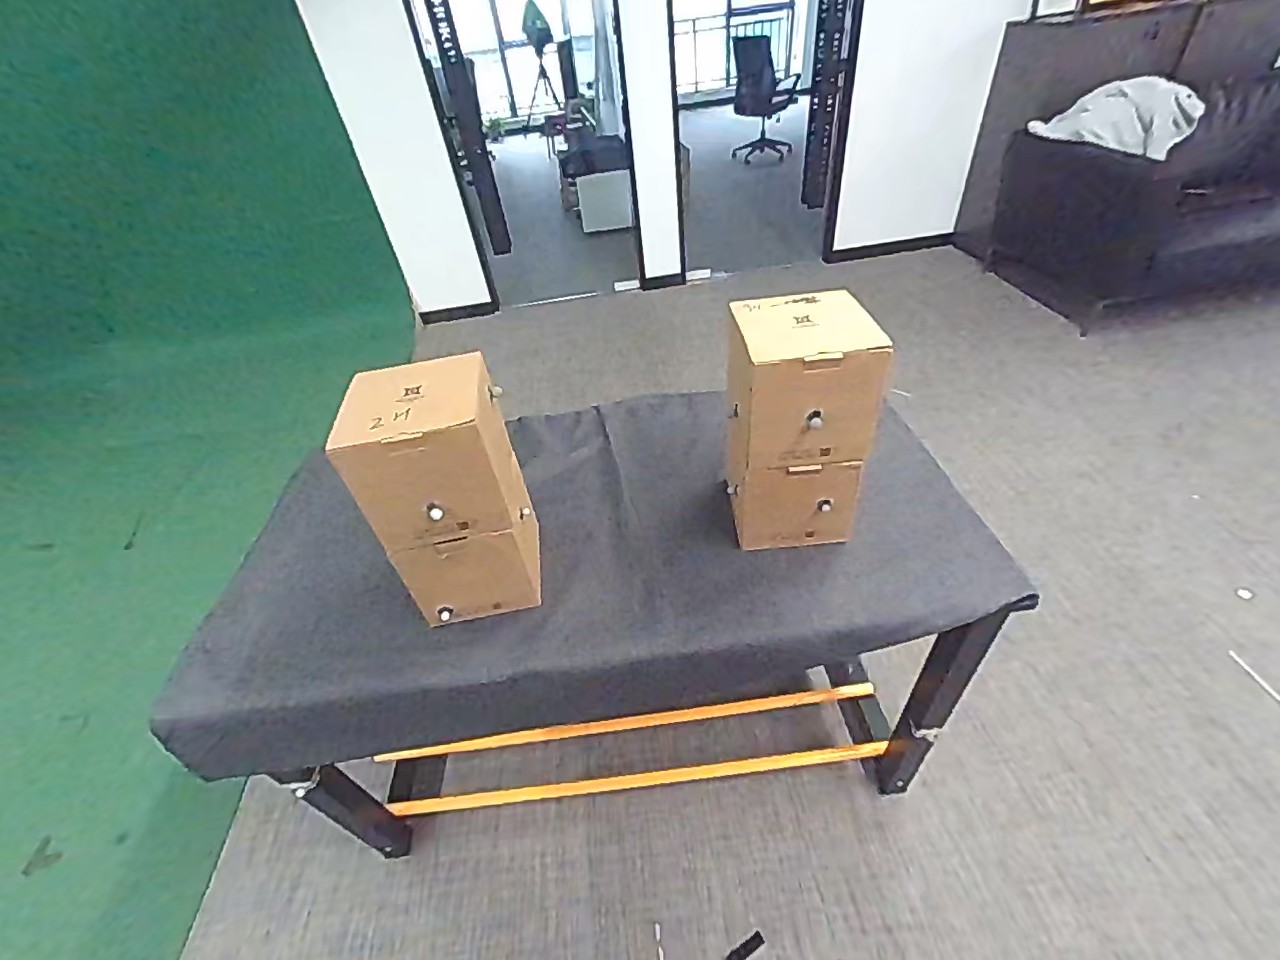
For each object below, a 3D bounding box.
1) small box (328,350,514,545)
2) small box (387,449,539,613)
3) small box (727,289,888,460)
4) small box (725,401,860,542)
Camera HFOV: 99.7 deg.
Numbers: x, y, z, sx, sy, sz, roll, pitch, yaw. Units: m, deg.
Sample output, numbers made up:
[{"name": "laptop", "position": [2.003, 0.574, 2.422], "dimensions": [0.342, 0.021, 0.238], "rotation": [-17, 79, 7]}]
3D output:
[{"name": "small box", "position": [-0.266, -0.044, 0.704], "dimensions": [0.168, 0.176, 0.179], "rotation": [-12, 41, -4]}, {"name": "small box", "position": [-0.249, 0.081, 0.810], "dimensions": [0.168, 0.176, 0.179], "rotation": [-10, 40, -3]}, {"name": "small box", "position": [0.214, -0.139, 0.742], "dimensions": [0.168, 0.176, 0.179], "rotation": [-5, 42, 2]}, {"name": "small box", "position": [0.227, -0.016, 0.849], "dimensions": [0.168, 0.176, 0.179], "rotation": [-4, 41, 2]}]
